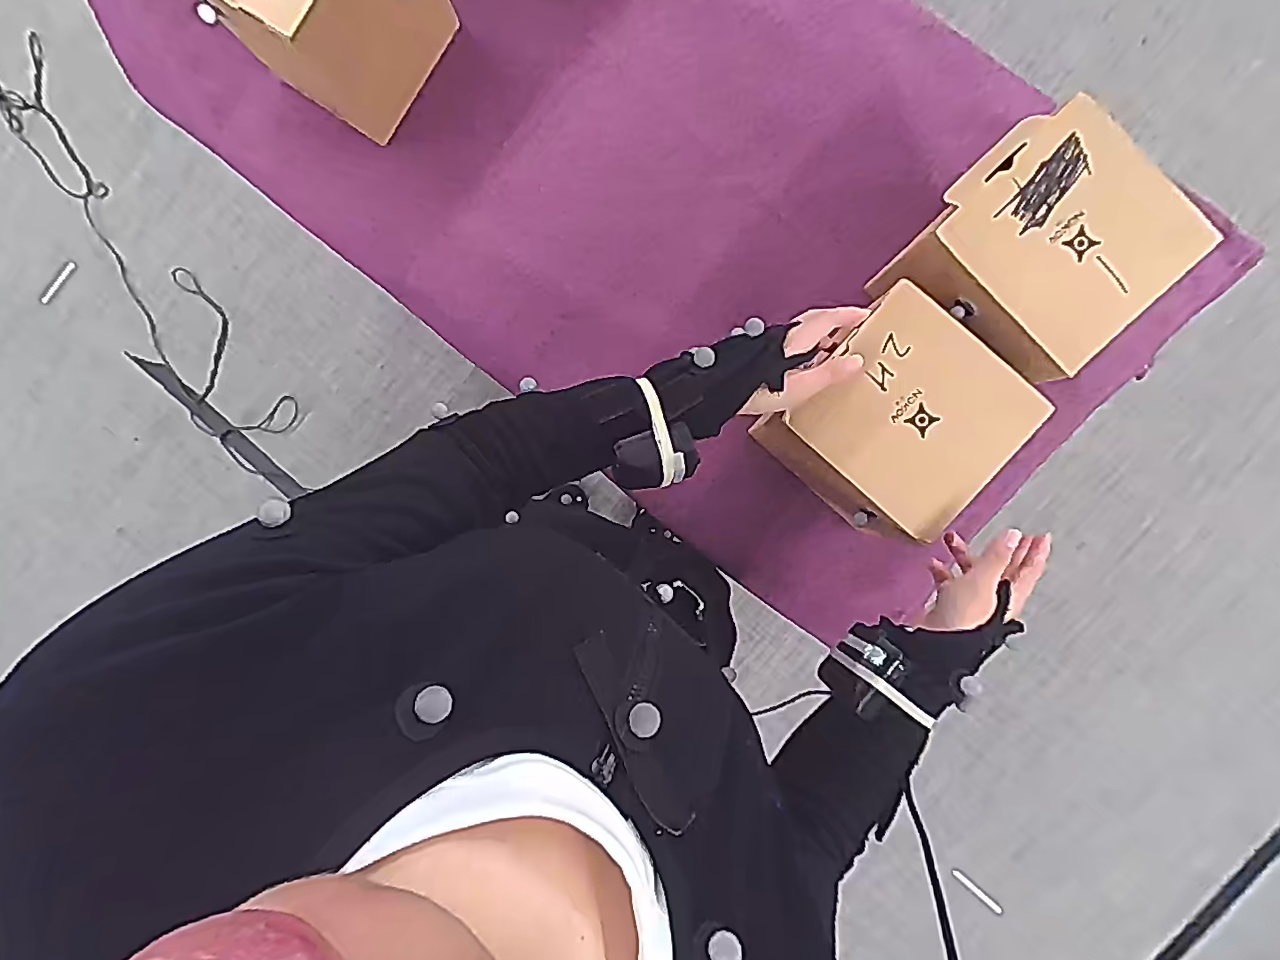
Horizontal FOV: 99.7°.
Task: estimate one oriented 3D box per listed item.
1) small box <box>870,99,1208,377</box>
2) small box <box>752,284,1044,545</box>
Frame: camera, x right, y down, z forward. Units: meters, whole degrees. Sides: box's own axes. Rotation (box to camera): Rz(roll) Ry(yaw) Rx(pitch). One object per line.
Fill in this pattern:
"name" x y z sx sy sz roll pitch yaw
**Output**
"small box" 0.370 -0.212 0.543 0.168 0.176 0.179 -43 90 5
"small box" 0.240 -0.060 0.555 0.179 0.176 0.168 42 92 2
